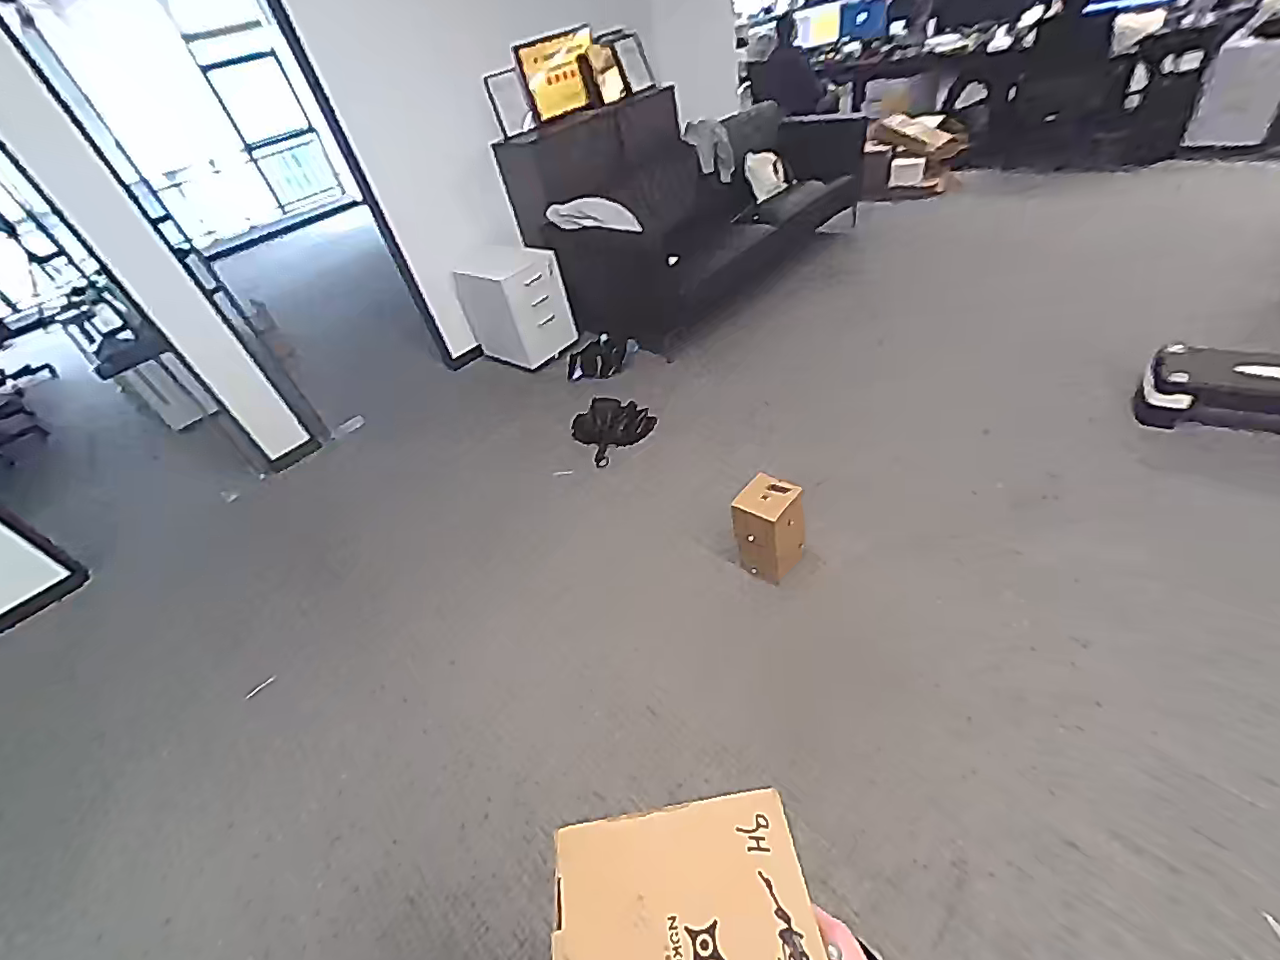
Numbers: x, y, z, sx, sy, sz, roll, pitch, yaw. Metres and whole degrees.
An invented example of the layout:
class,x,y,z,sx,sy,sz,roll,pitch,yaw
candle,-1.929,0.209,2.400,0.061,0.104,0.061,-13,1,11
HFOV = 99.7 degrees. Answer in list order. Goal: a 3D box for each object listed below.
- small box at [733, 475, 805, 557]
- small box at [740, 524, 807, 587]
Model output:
class,x,y,z,sx,sy,sz,roll,pitch,yaw
small box,0.427,0.119,1.785,0.168,0.176,0.179,23,53,38
small box,0.467,0.238,1.891,0.168,0.176,0.179,23,54,38
